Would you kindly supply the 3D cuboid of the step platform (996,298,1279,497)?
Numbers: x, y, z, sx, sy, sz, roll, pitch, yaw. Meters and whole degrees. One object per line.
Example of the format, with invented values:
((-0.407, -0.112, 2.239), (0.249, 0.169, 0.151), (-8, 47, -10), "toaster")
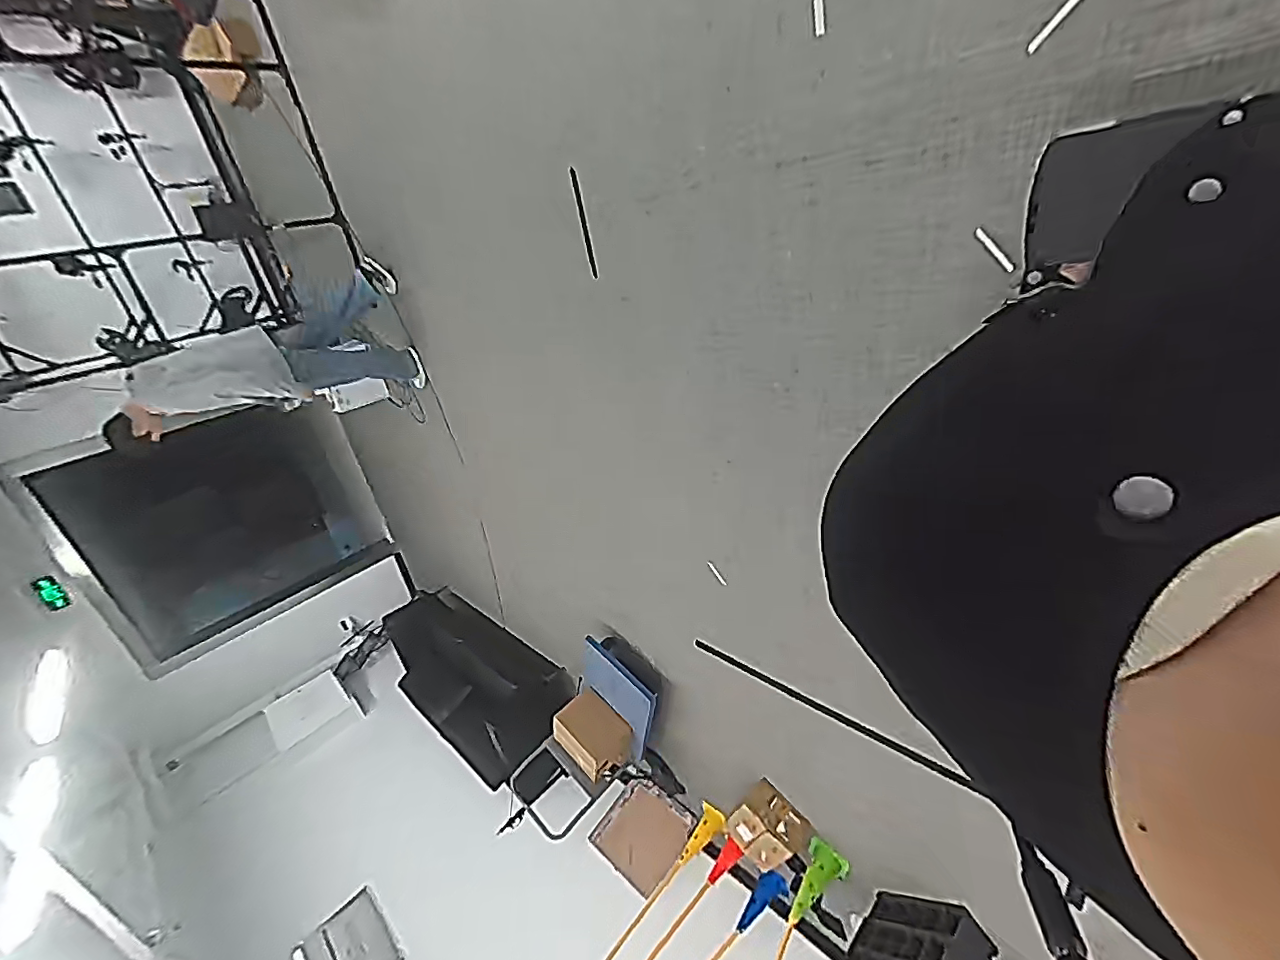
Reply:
((1.050, -0.151, 0.968), (0.684, 0.204, 0.286), (22, 129, 43), "step platform")
